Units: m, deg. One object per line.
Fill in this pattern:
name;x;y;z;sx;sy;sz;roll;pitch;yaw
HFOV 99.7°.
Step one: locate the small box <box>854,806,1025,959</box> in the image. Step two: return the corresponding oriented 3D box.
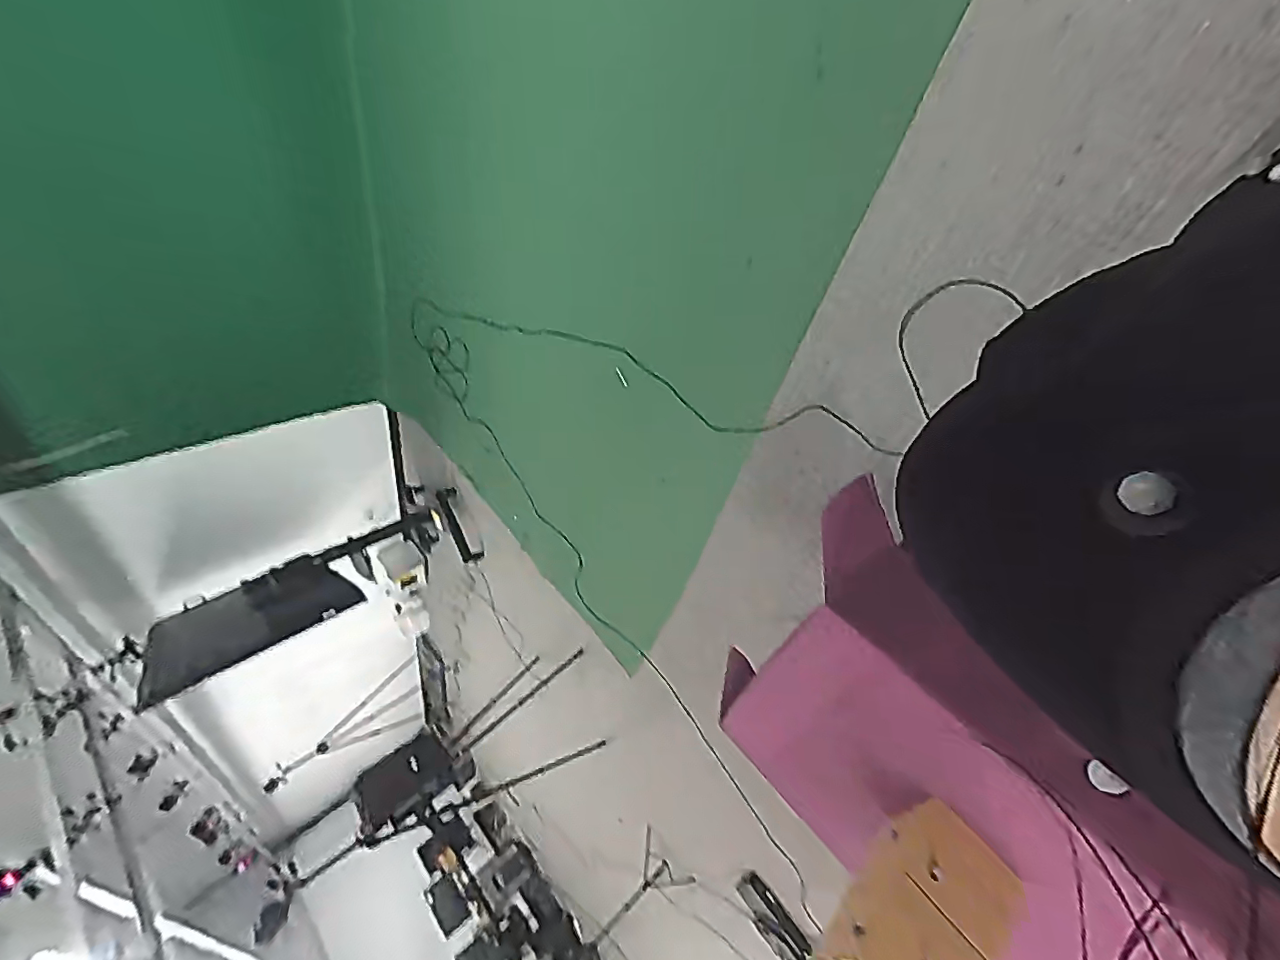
small box;0.528;0.717;0.959;0.179;0.176;0.168;45;139;24
